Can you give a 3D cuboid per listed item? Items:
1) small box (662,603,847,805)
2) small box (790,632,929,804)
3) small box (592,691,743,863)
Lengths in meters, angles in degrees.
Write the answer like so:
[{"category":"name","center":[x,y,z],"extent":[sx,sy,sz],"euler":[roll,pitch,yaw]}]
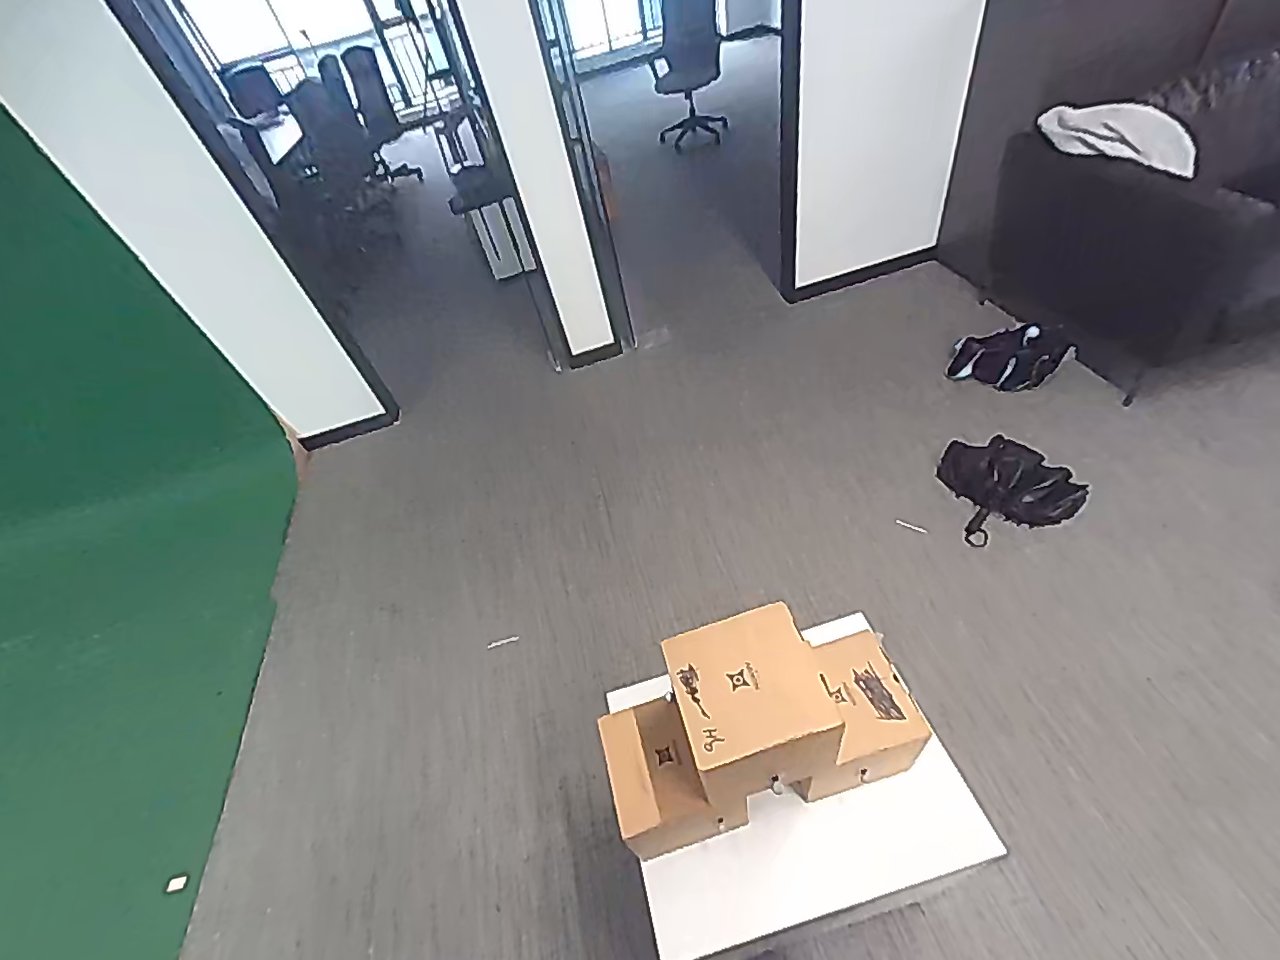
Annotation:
[{"category":"small box","center":[0.139,0.290,0.699],"extent":[0.179,0.176,0.168],"euler":[-16,45,-4]},{"category":"small box","center":[0.296,0.364,0.824],"extent":[0.179,0.176,0.168],"euler":[-16,46,-3]},{"category":"small box","center":[0.042,0.438,0.806],"extent":[0.179,0.176,0.168],"euler":[-17,44,-5]}]
